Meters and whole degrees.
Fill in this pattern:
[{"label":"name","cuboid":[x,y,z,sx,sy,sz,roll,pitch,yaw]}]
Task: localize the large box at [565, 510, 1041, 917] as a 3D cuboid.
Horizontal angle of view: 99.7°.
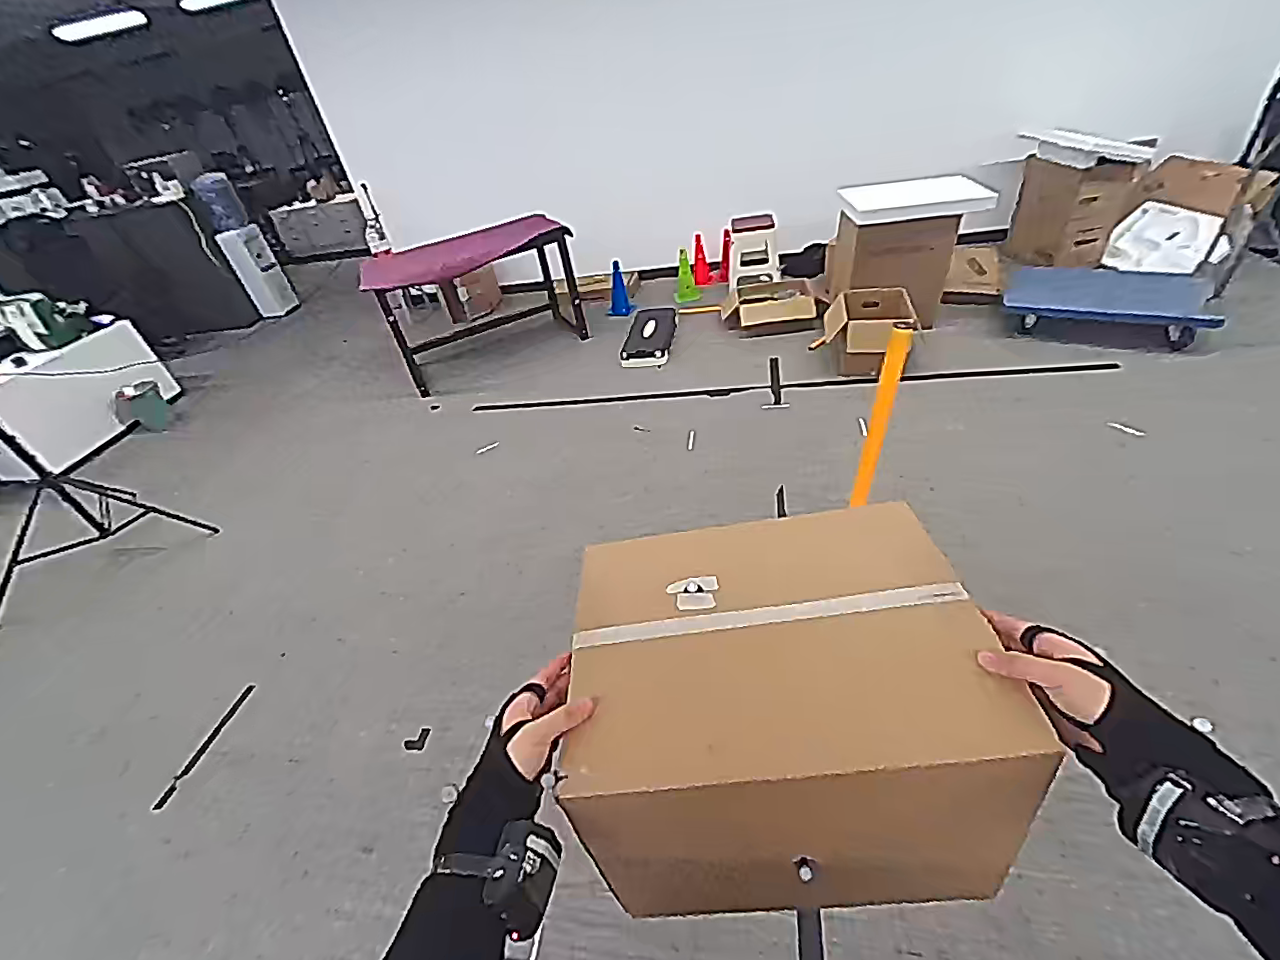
[{"label":"large box","cuboid":[0.156,0.277,0.654,0.408,0.320,0.320,-10,34,6]}]
